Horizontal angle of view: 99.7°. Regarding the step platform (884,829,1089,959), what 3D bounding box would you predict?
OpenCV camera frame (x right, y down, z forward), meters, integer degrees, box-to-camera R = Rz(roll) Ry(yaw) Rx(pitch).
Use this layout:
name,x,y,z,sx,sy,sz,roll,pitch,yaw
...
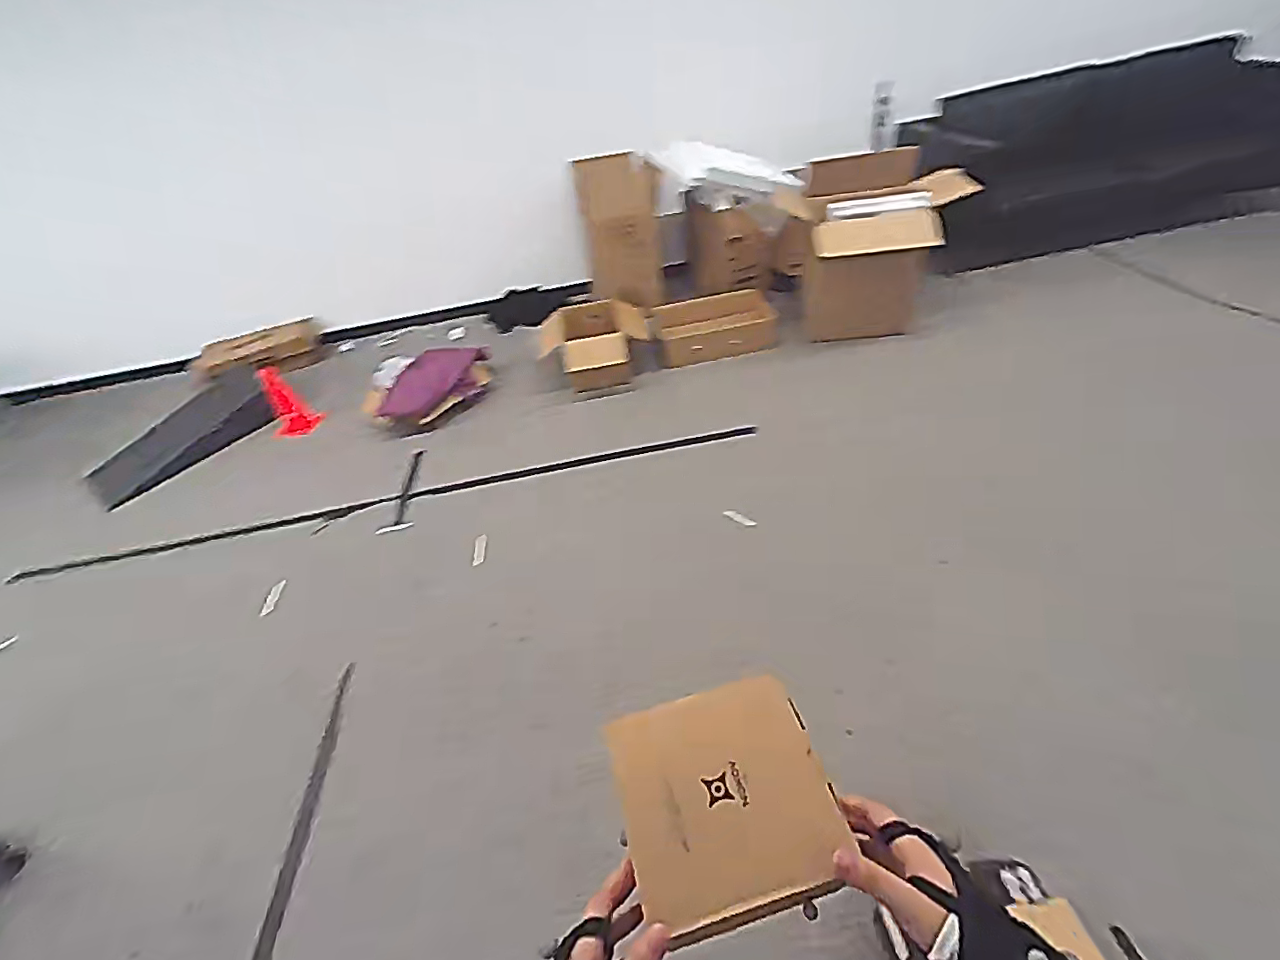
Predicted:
name,x,y,z,sx,sy,sz,roll,pitch,yaw
step platform,0.613,0.884,0.715,0.286,0.204,0.684,-11,42,-2

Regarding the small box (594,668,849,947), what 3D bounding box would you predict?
name,x,y,z,sx,sy,sz,roll,pitch,yaw
small box,0.069,0.315,0.521,0.179,0.176,0.168,-18,46,-6

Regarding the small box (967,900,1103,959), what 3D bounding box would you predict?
name,x,y,z,sx,sy,sz,roll,pitch,yaw
small box,0.628,0.801,0.859,0.168,0.176,0.179,-13,41,-3
